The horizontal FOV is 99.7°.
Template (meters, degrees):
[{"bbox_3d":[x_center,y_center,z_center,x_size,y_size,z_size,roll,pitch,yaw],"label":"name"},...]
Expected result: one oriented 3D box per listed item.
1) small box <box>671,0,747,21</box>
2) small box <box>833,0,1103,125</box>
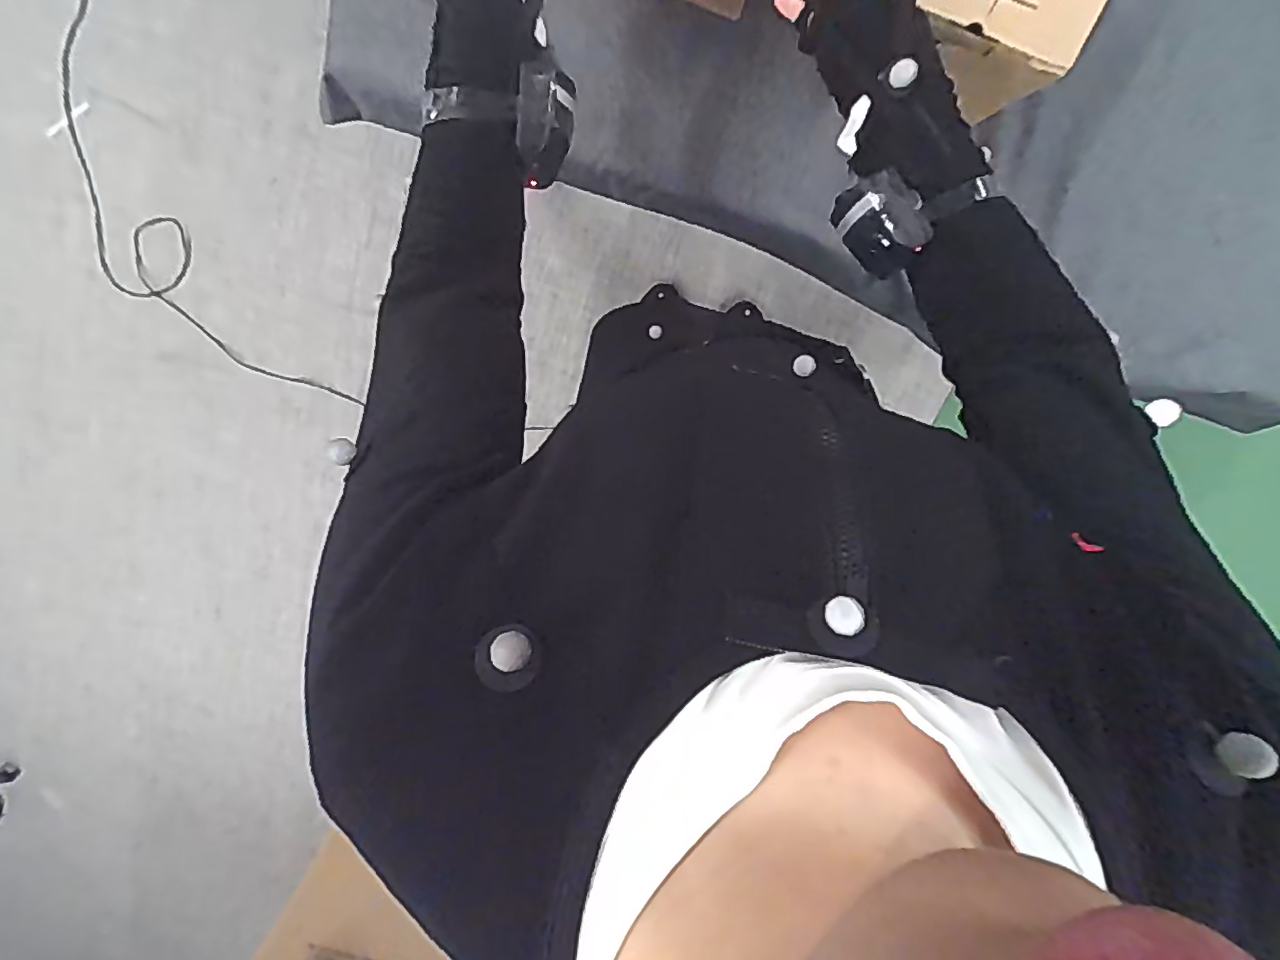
[{"bbox_3d":[0.047,-0.540,0.446,0.168,0.176,0.179,19,111,-3],"label":"small box"},{"bbox_3d":[0.288,-0.444,0.464,0.168,0.176,0.179,20,109,-4],"label":"small box"}]
